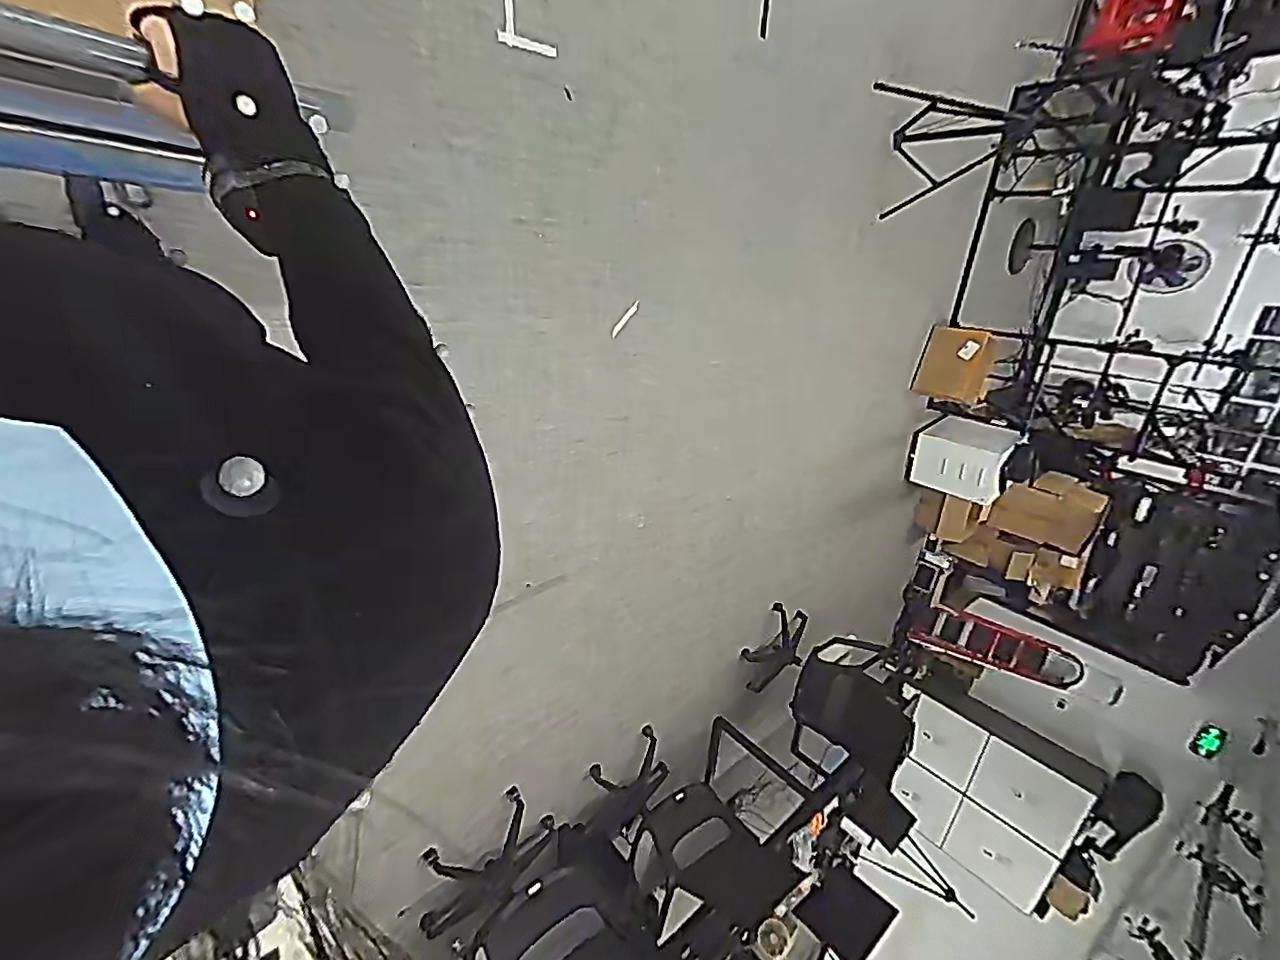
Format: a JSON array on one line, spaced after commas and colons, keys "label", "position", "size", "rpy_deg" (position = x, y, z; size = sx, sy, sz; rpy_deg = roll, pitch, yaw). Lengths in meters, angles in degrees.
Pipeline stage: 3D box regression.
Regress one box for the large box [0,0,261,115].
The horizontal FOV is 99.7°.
[{"label": "large box", "position": [-0.773, -0.691, 0.675], "size": [0.408, 0.320, 0.320], "rpy_deg": [-17, 121, -40]}]
